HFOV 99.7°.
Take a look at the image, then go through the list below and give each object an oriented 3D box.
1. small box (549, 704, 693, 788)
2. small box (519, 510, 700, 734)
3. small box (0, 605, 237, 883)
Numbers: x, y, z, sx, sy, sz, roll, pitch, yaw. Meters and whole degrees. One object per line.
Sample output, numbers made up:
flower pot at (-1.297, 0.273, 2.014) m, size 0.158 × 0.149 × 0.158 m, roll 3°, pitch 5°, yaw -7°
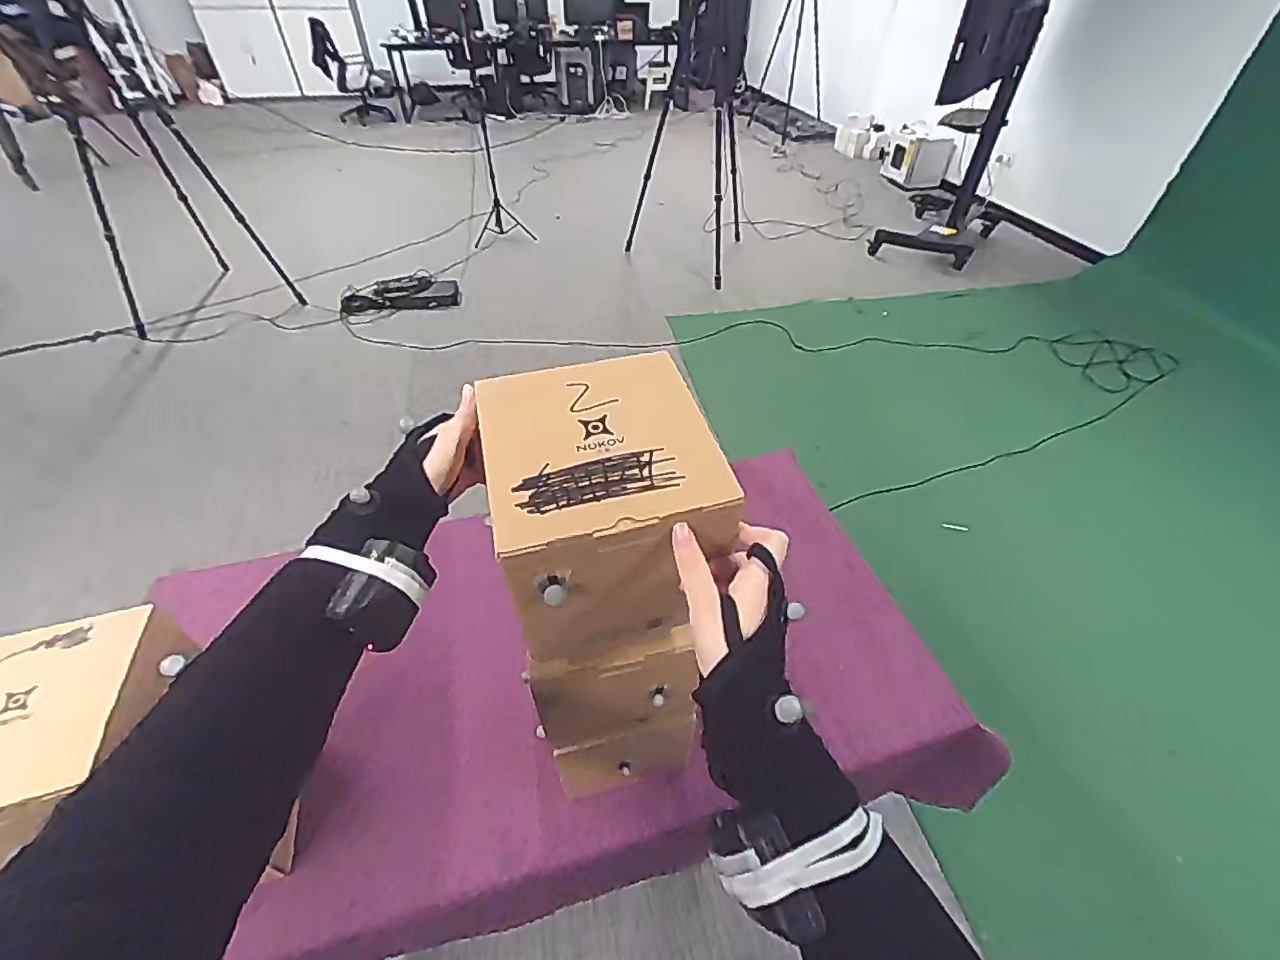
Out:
small box at (-0.035, 0.283, 0.717) m, size 0.168 × 0.176 × 0.179 m, roll -10°, pitch 45°, yaw -10°
small box at (-0.037, 0.163, 0.606) m, size 0.168 × 0.176 × 0.179 m, roll -9°, pitch 44°, yaw -9°
small box at (-0.528, 0.254, 0.518) m, size 0.168 × 0.176 × 0.179 m, roll -12°, pitch 45°, yaw -13°
